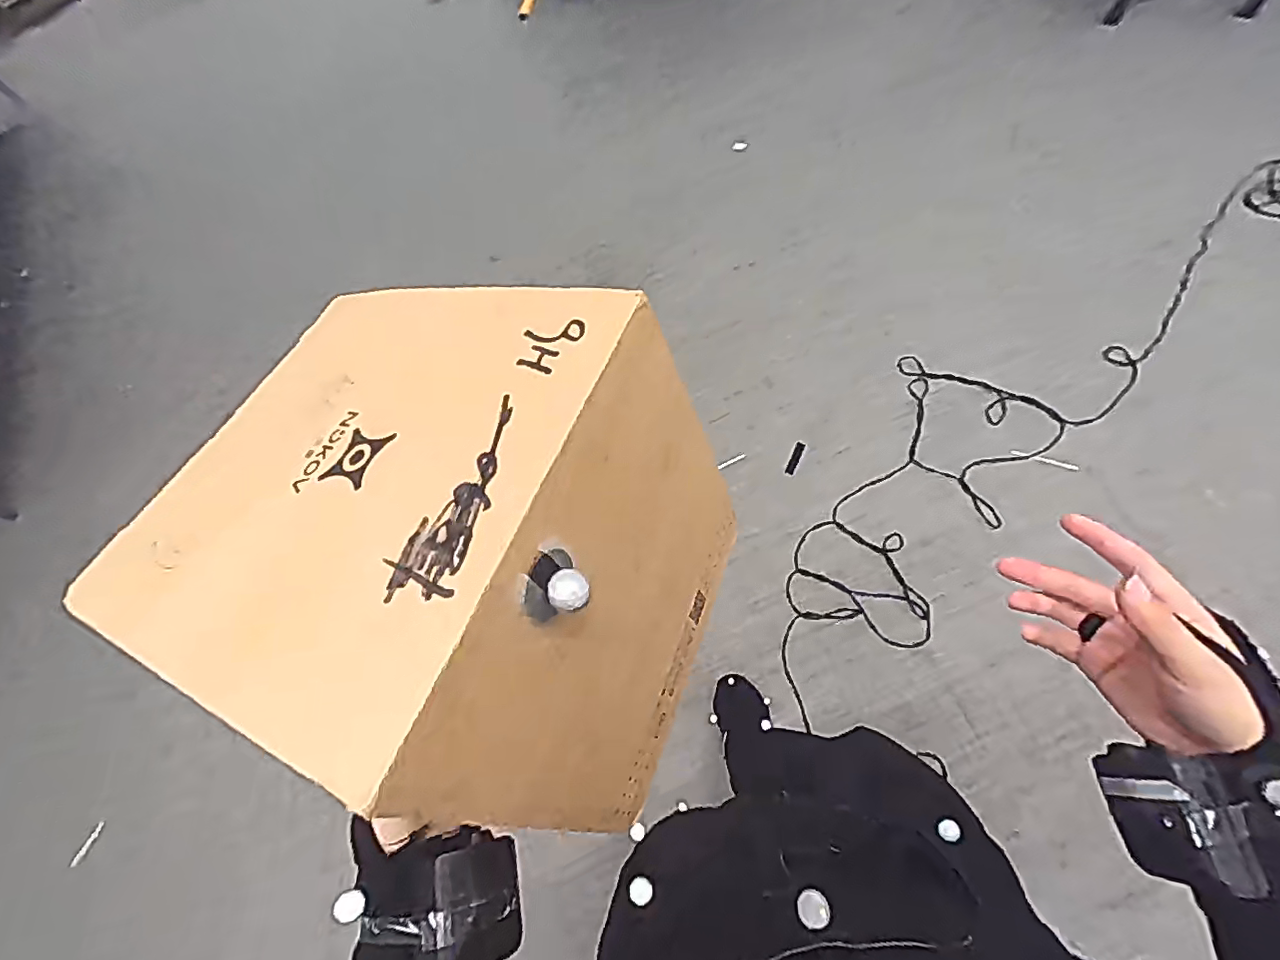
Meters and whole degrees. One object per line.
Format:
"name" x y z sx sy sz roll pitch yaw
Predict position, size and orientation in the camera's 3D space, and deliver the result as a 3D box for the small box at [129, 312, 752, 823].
"small box" -0.064 0.041 0.259 0.179 0.176 0.168 10 62 30
